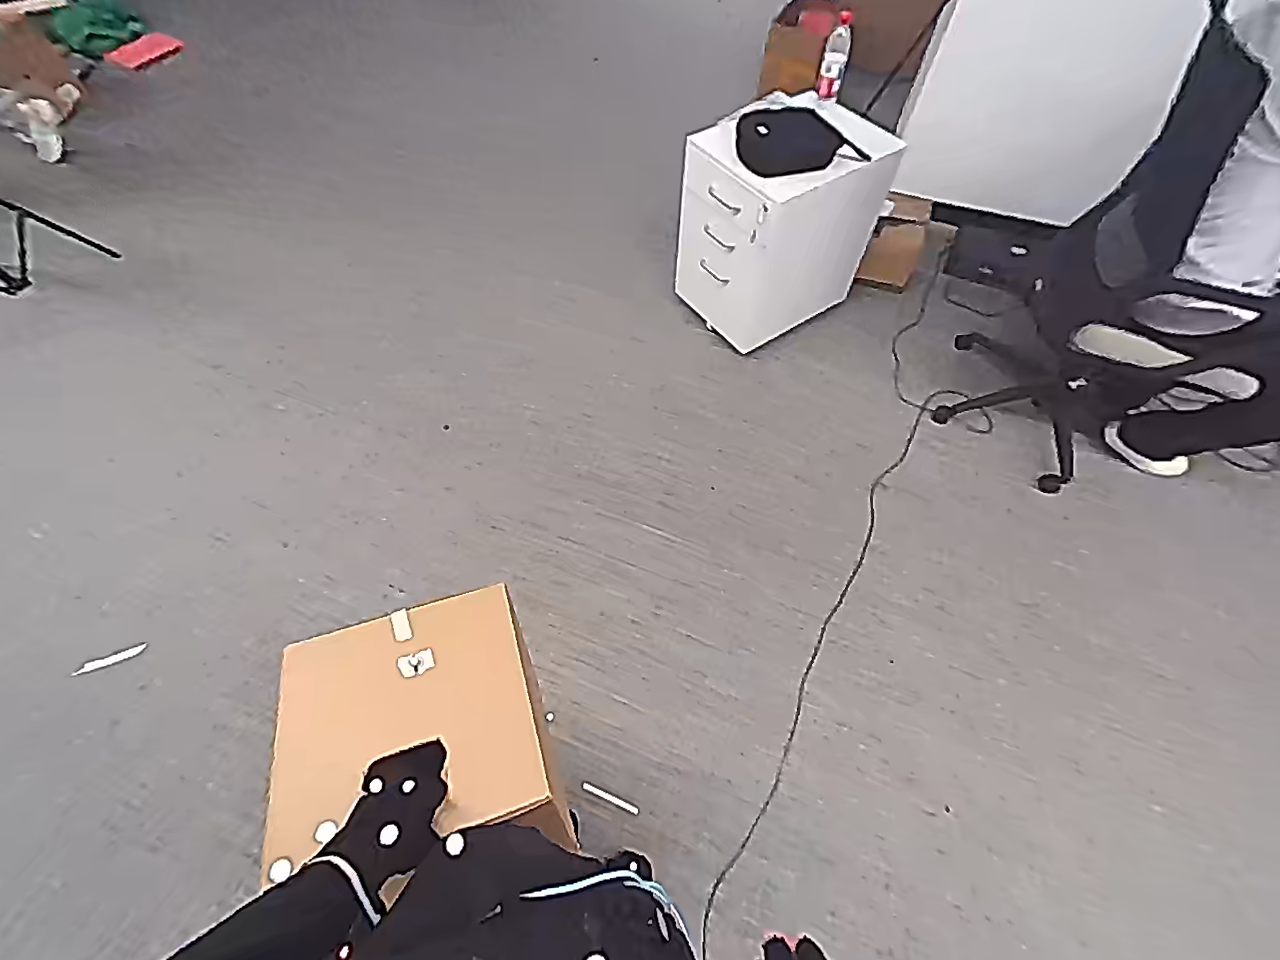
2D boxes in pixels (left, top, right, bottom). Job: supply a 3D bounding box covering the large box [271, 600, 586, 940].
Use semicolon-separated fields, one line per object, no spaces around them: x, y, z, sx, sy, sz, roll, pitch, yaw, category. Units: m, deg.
-0.291;0.449;0.835;0.320;0.408;0.320;-15;49;-12;large box
